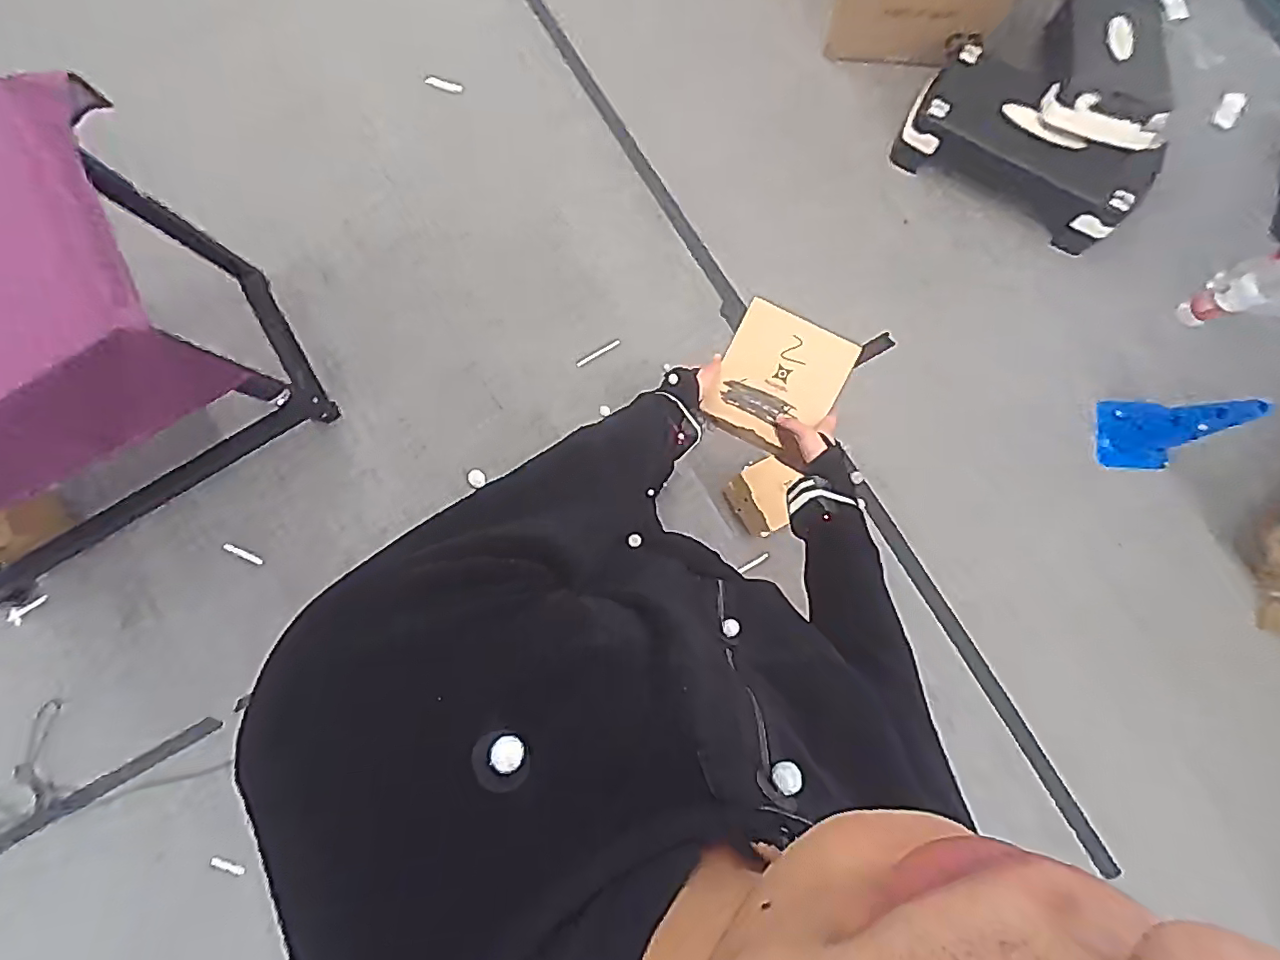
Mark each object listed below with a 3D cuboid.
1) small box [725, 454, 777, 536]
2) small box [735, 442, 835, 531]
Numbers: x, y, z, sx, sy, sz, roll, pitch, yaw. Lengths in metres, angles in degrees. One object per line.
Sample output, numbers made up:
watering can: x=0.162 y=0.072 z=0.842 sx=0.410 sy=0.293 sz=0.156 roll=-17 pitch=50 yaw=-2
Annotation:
small box: x=0.362 y=0.046 z=1.553 sx=0.168 sy=0.176 sz=0.179 roll=-31 pitch=83 yaw=-1
small box: x=0.364 y=0.021 z=1.392 sx=0.179 sy=0.176 sz=0.168 roll=-27 pitch=84 yaw=1
